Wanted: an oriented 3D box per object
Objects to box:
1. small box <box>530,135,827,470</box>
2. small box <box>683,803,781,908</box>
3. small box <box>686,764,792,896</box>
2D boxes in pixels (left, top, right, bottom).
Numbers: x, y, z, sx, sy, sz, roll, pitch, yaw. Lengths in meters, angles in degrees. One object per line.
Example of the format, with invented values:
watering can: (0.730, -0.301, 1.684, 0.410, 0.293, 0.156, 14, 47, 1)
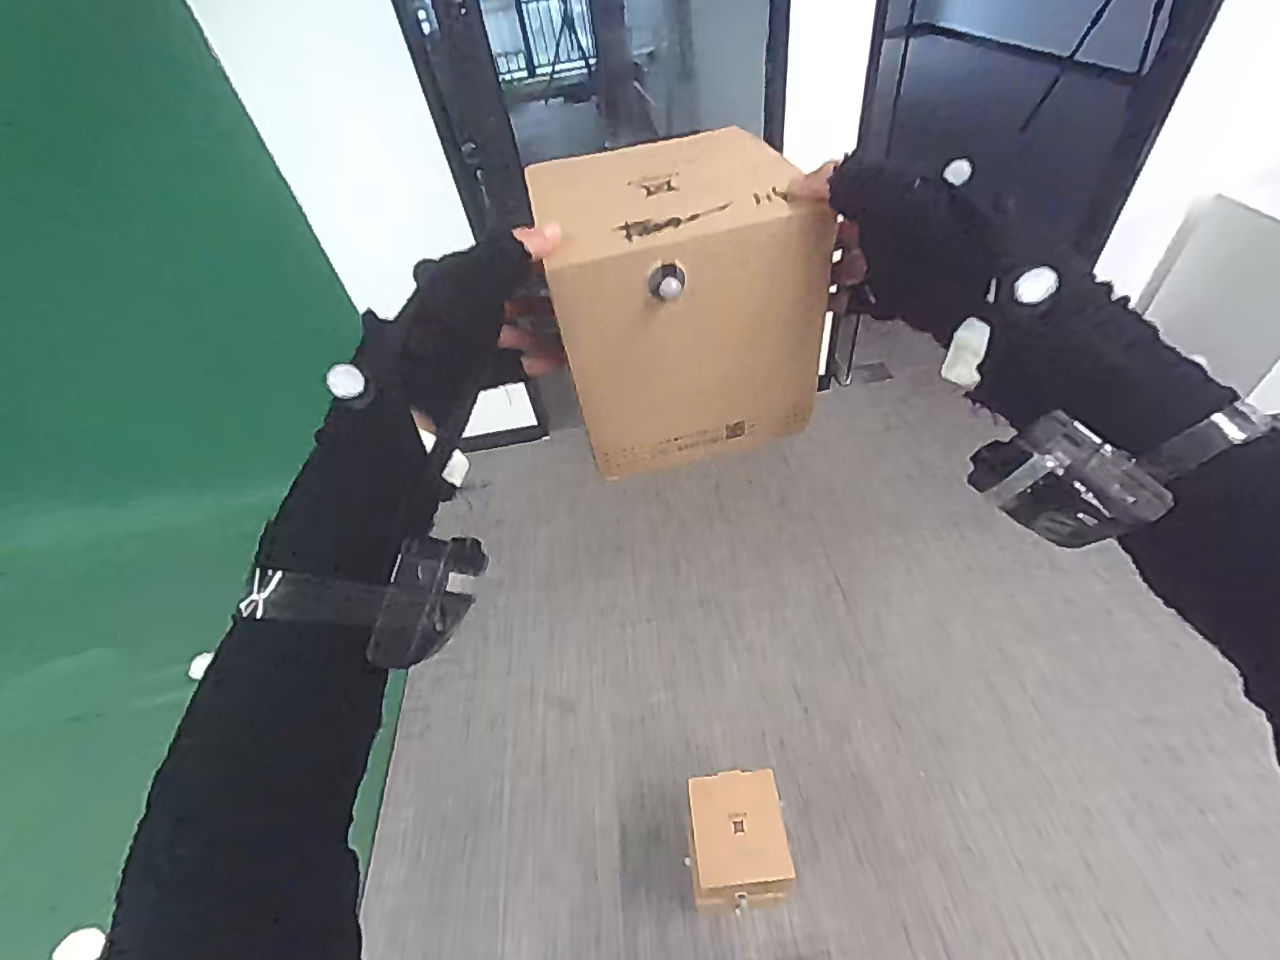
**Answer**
small box: (0.021, -0.136, 0.413, 0.168, 0.176, 0.179, -14, 45, -2)
small box: (0.191, 0.795, 1.152, 0.179, 0.176, 0.168, -8, 45, 3)
small box: (0.185, 0.675, 1.043, 0.168, 0.176, 0.179, -9, 46, 3)
